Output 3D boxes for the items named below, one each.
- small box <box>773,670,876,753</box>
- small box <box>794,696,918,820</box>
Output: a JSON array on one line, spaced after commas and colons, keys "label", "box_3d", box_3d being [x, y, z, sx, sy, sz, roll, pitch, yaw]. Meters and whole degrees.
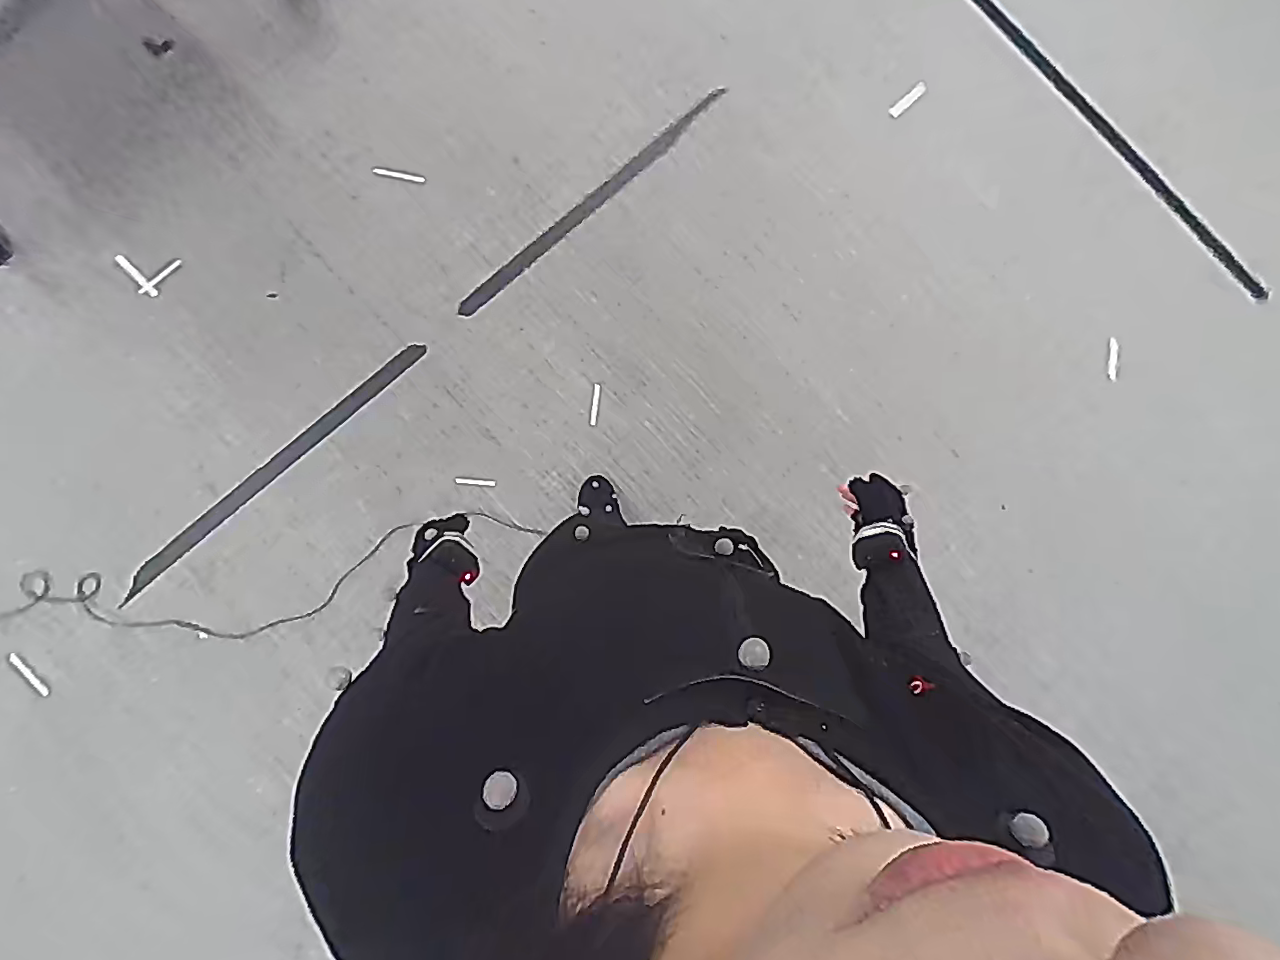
[{"label": "small box", "box_3d": [0.475, 0.637, 1.432, 0.168, 0.176, 0.179, 39, 83, -1]}, {"label": "small box", "box_3d": [0.495, 0.637, 1.270, 0.179, 0.176, 0.168, 43, 85, -1]}]
